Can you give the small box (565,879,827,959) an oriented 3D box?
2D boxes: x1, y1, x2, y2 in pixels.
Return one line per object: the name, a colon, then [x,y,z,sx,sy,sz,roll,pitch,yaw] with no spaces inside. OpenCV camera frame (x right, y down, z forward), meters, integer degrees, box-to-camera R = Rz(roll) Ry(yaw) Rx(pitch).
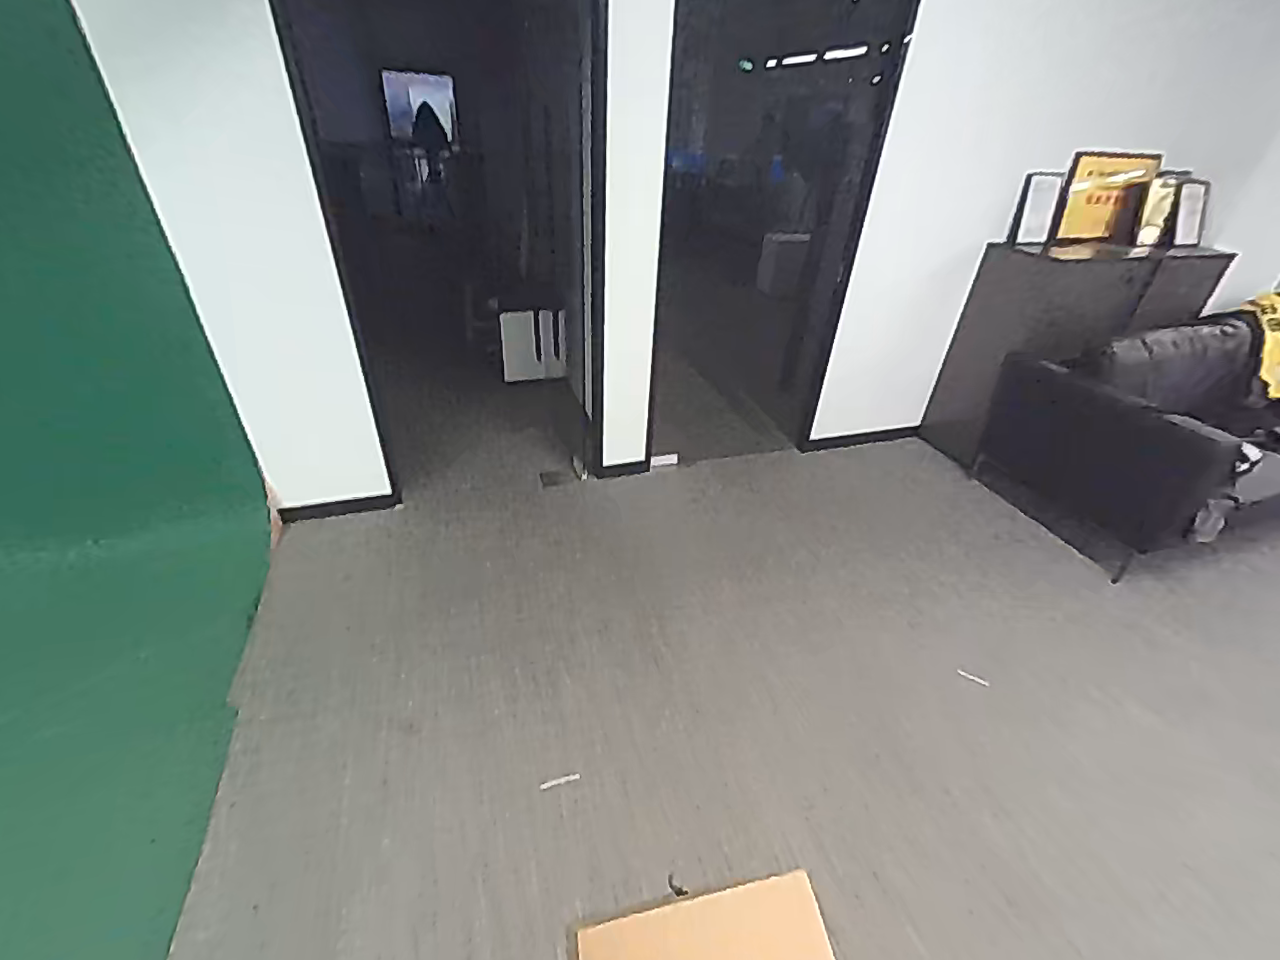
small box: [0.041,0.406,0.378,0.168,0.176,0.179,-4,53,-14]
